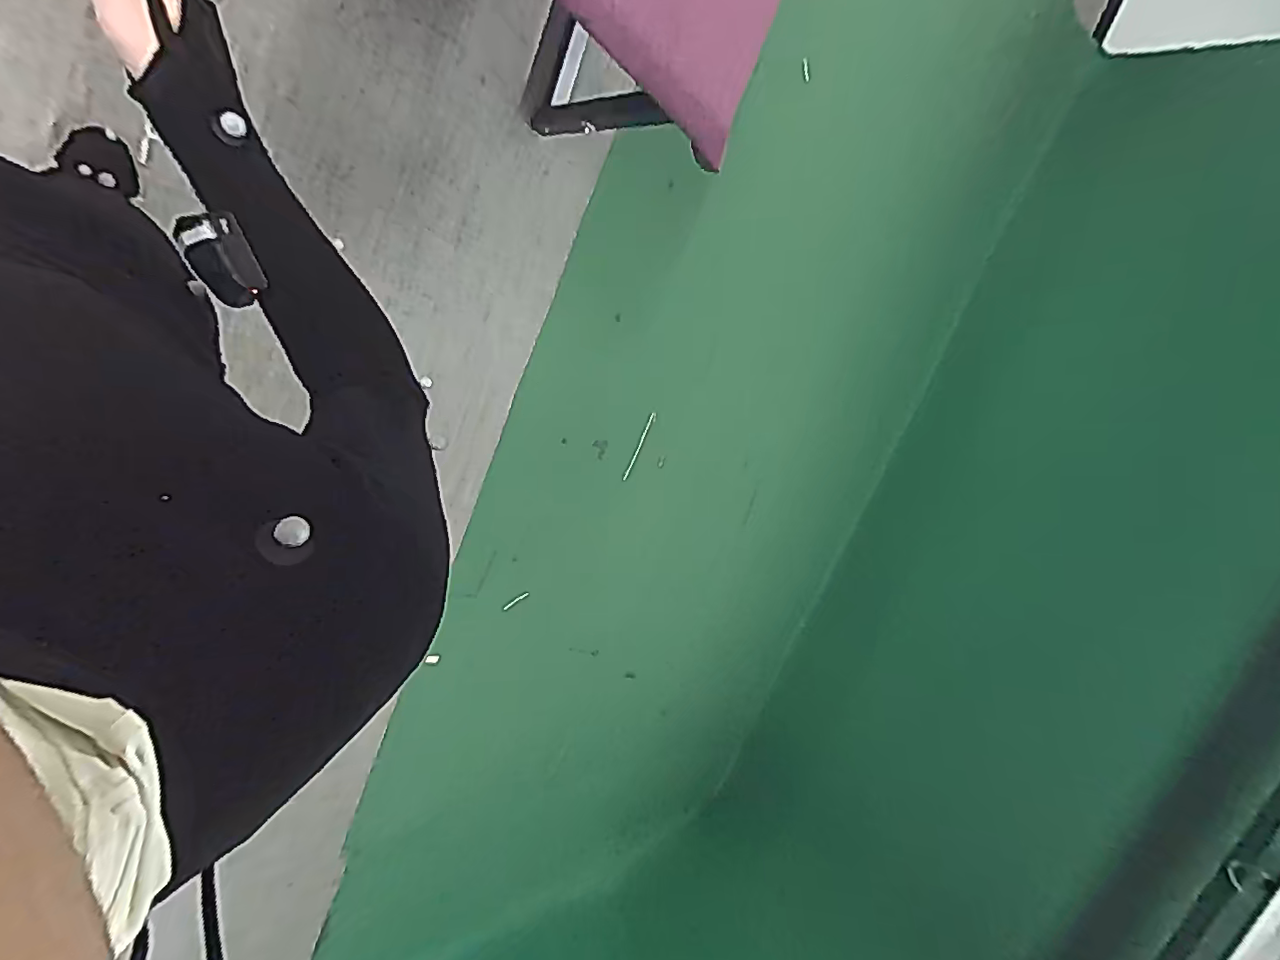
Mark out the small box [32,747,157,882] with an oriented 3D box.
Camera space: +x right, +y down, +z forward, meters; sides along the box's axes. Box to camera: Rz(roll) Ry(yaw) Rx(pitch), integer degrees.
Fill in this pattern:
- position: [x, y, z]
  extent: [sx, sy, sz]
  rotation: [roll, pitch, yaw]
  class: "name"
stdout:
- position: [-1.227, 0.744, 1.225]
  extent: [0.168, 0.176, 0.179]
  rotation: [16, 103, -48]
  class: "small box"
